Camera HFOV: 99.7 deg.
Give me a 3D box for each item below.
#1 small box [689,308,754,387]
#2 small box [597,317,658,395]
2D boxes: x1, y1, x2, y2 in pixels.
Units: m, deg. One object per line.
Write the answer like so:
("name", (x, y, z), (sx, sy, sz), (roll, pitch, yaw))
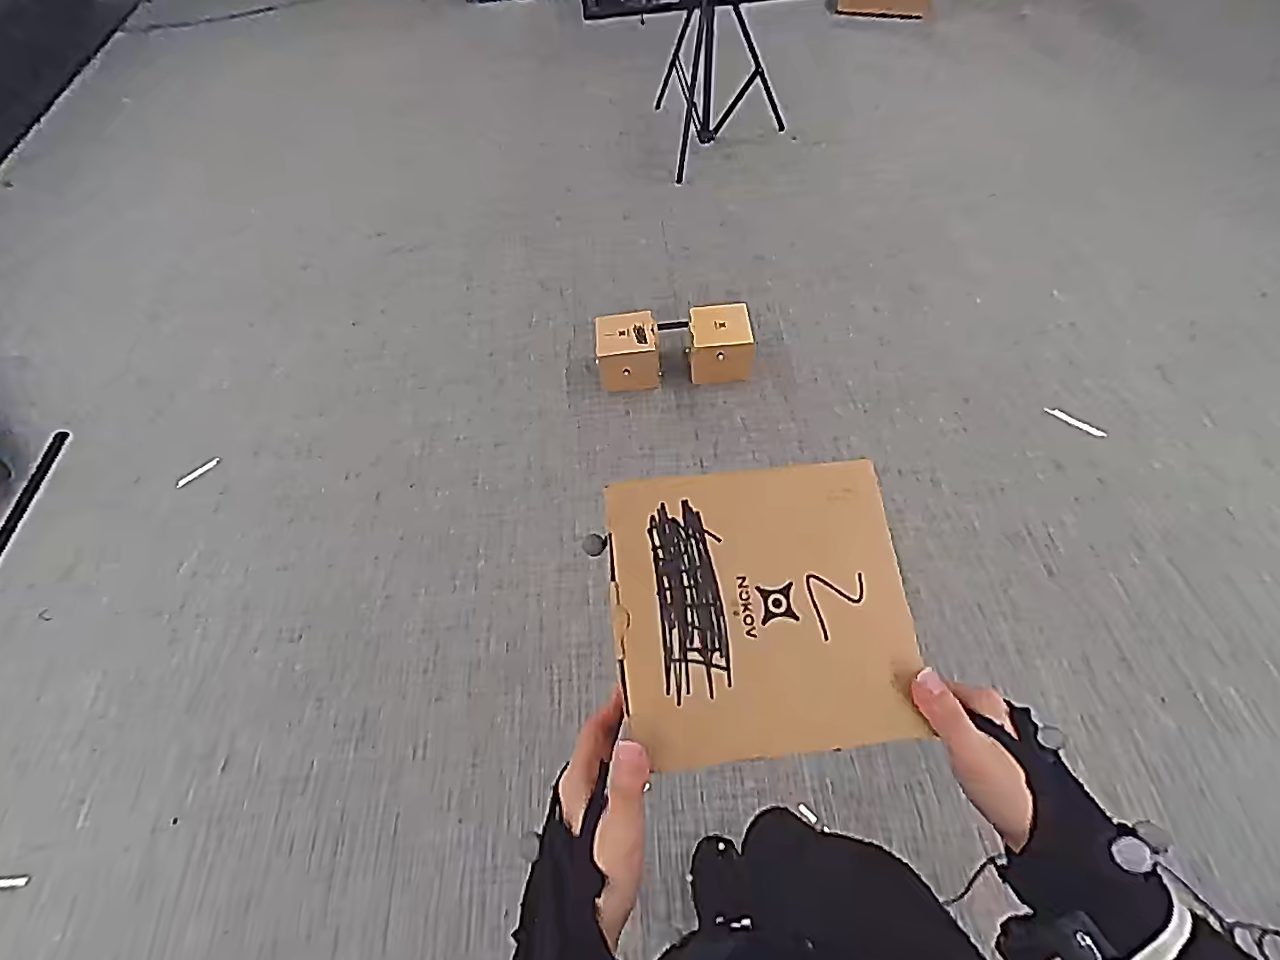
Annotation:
("small box", (0.248, -0.410, 1.686), (0.179, 0.176, 0.168), (-5, 60, 3))
("small box", (-0.035, -0.384, 1.691), (0.179, 0.176, 0.168), (-6, 60, 2))
